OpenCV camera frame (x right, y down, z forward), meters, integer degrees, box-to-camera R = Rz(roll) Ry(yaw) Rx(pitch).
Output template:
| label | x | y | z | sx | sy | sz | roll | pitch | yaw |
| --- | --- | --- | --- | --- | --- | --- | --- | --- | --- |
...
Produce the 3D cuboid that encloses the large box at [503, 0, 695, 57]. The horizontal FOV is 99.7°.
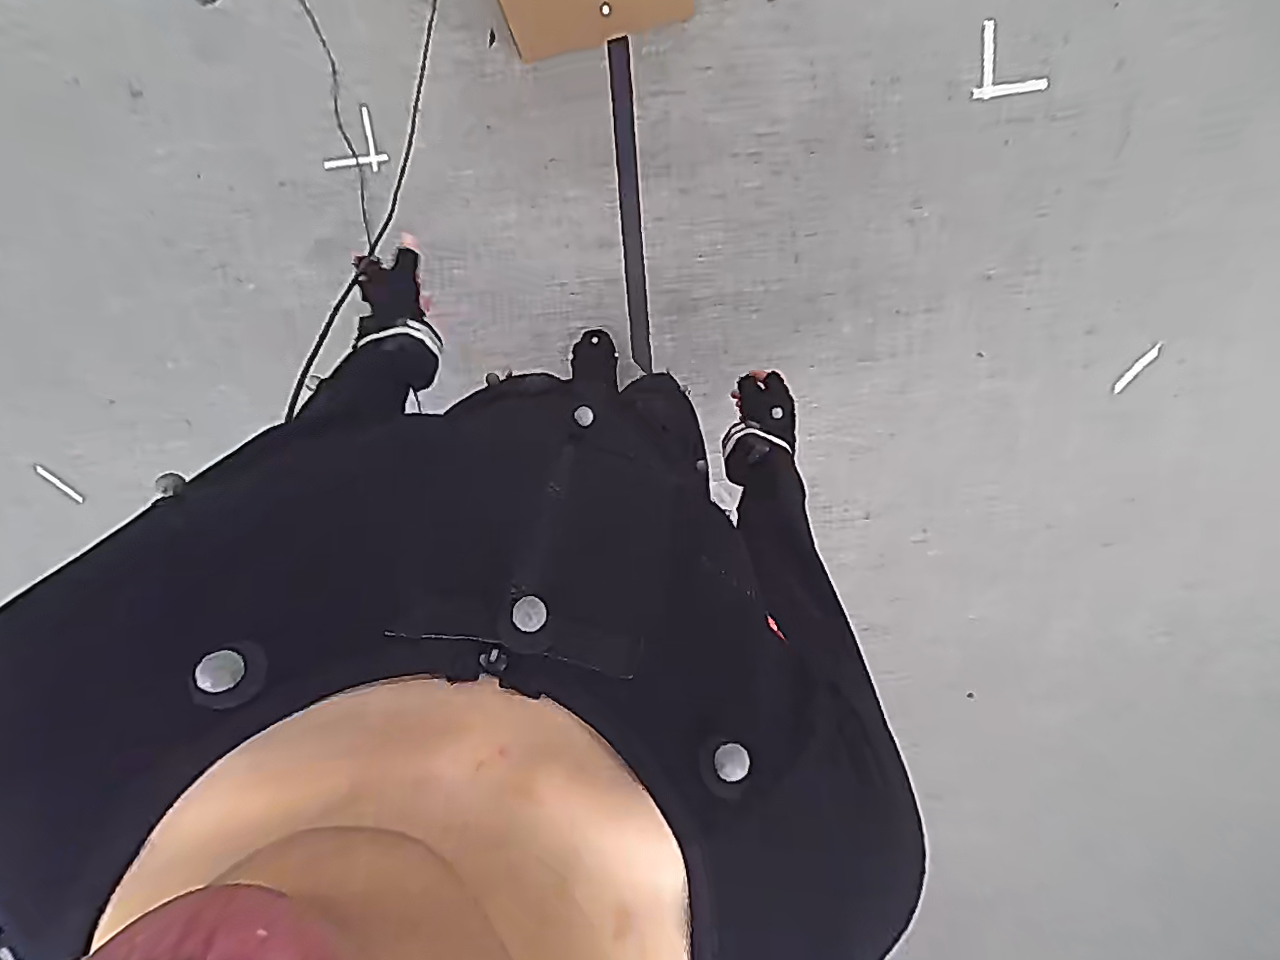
| label | x | y | z | sx | sy | sz | roll | pitch | yaw |
| --- | --- | --- | --- | --- | --- | --- | --- | --- | --- |
| large box | -0.102 | -1.123 | 1.064 | 0.408 | 0.320 | 0.320 | -13 | 104 | 3 |
